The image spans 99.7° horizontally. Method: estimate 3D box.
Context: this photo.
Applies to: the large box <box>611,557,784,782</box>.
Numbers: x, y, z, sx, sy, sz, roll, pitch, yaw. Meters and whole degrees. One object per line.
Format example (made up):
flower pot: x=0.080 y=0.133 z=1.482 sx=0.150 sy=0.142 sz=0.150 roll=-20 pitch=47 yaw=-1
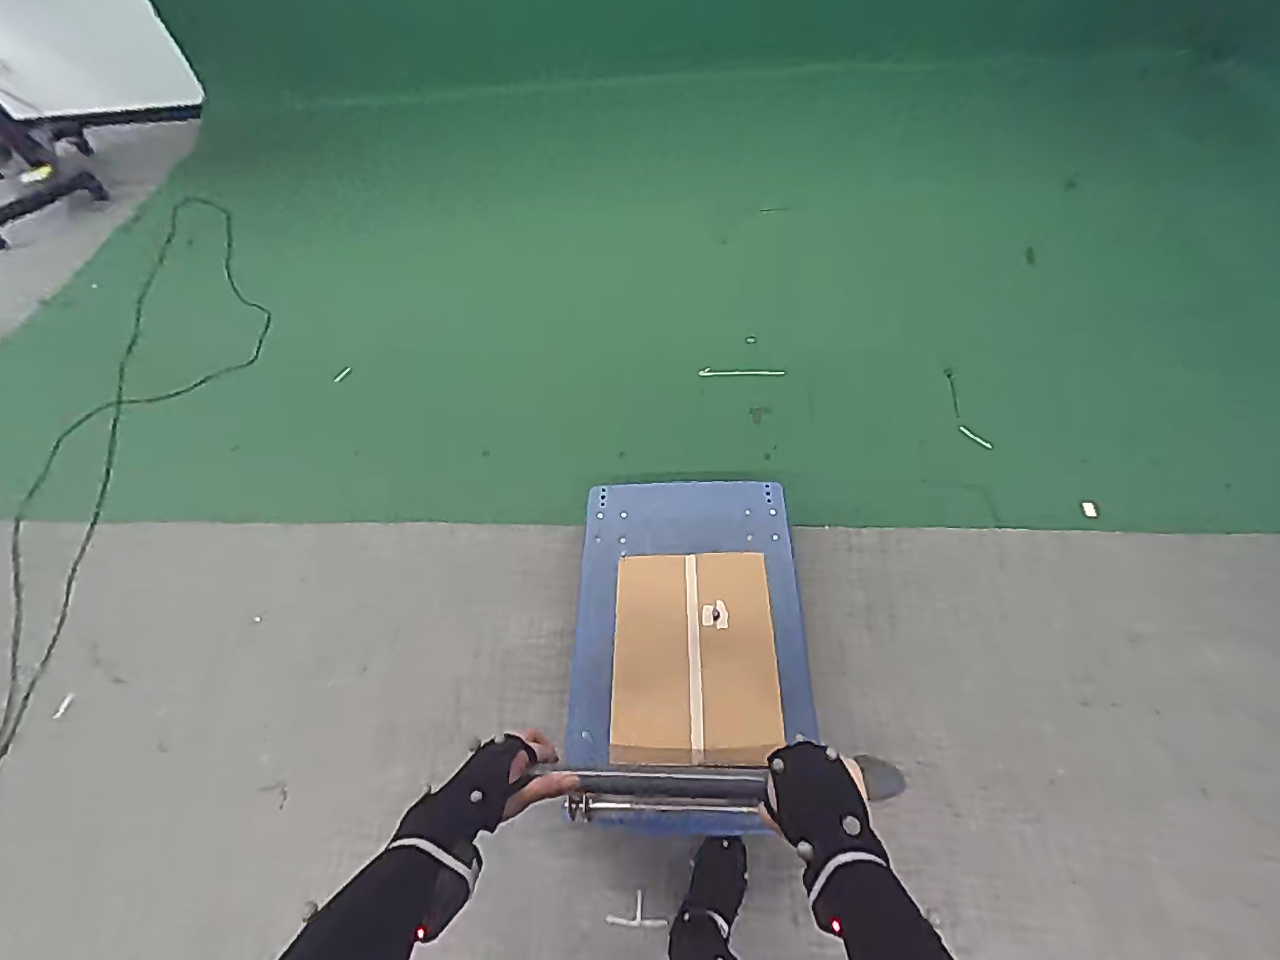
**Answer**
large box: x=0.118 y=0.421 z=1.186 sx=0.320 sy=0.320 sz=0.408 roll=-2 pitch=56 yaw=5
